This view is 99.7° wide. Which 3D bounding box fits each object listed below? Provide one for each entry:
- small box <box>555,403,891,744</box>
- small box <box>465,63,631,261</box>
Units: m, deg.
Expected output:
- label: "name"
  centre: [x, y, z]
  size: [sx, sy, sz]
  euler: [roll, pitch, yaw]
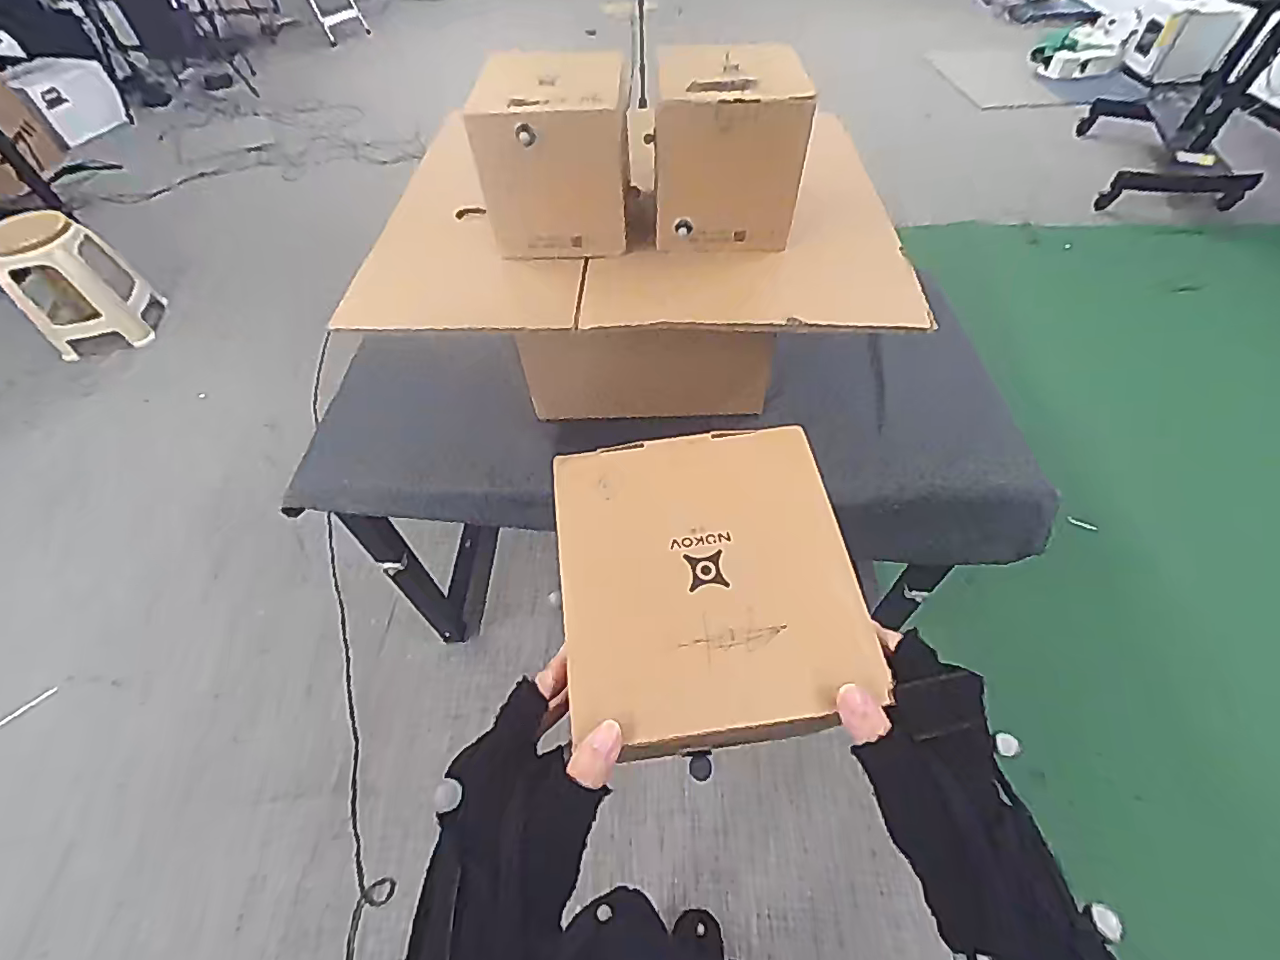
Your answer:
- label: "small box"
  centre: [0.035, 0.072, 0.375]
  size: [0.168, 0.176, 0.179]
  euler: [-7, 61, -3]
- label: "small box"
  centre: [-0.101, -0.401, 0.689]
  size: [0.168, 0.176, 0.179]
  euler: [-1, 52, 4]
